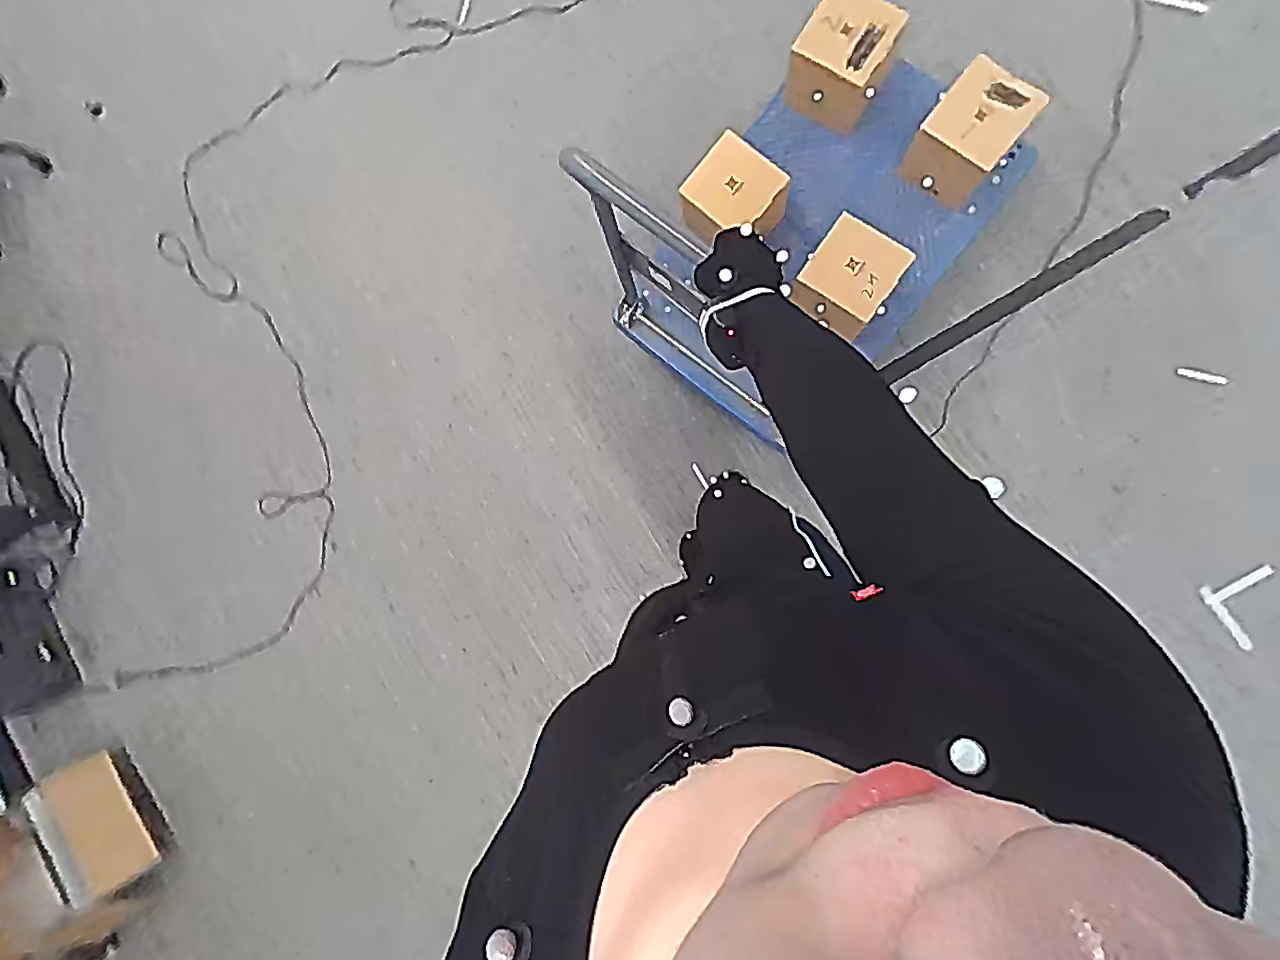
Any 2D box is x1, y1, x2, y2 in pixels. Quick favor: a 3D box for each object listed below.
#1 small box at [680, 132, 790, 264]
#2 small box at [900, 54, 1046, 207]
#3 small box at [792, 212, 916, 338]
[{"bbox_3d":[0.208,-0.623,1.221,0.179,0.176,0.168,40,95,5],"label":"small box"},{"bbox_3d":[0.687,-0.726,1.144,0.168,0.176,0.179,39,97,7],"label":"small box"},{"bbox_3d":[0.453,-0.436,1.181,0.179,0.176,0.168,36,96,8],"label":"small box"}]
